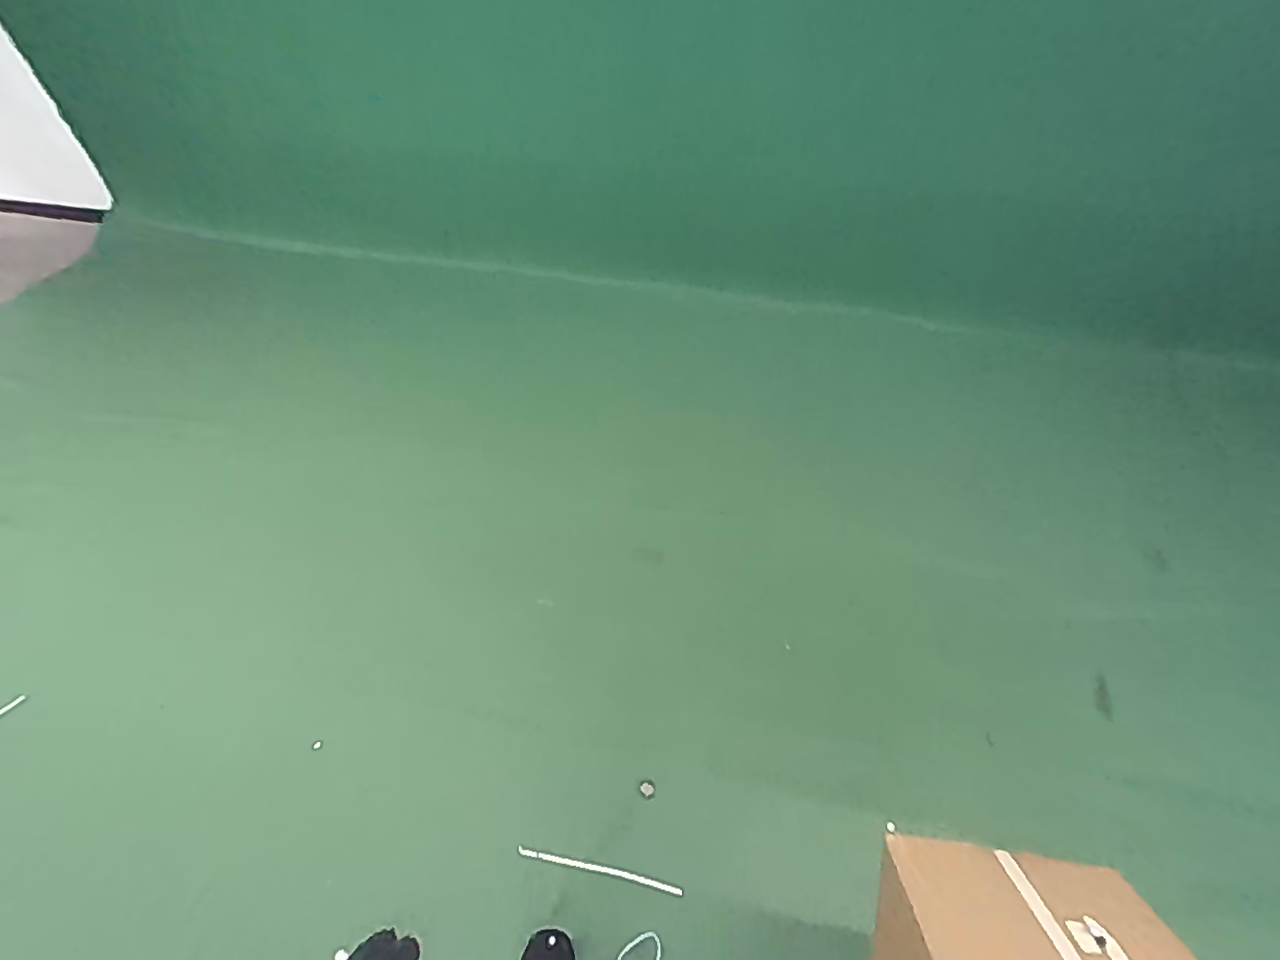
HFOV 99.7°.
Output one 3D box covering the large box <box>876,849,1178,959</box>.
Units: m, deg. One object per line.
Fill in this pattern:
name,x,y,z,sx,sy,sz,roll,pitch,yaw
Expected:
large box,0.473,0.717,0.595,0.320,0.408,0.320,4,94,9
